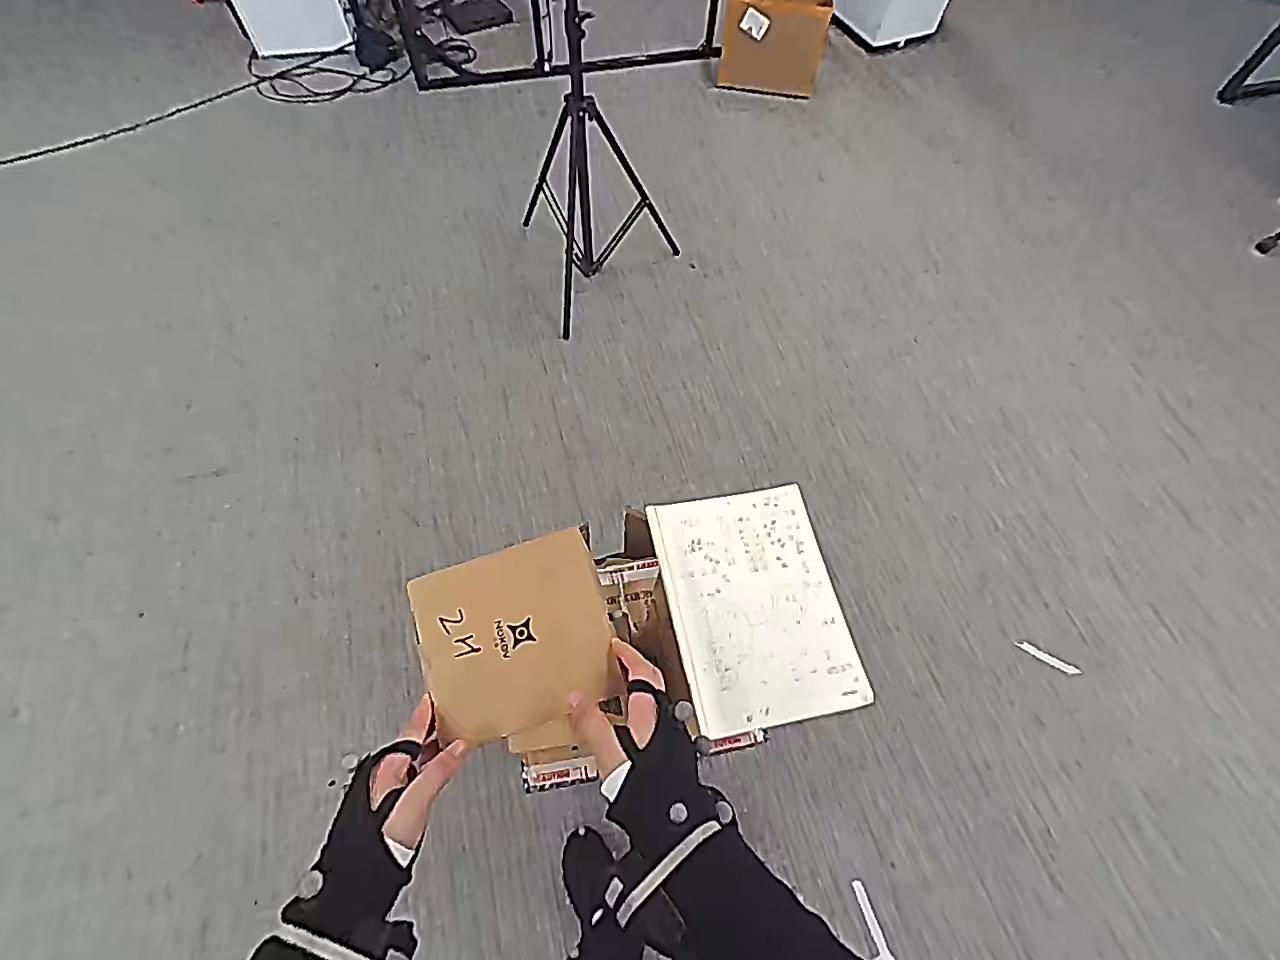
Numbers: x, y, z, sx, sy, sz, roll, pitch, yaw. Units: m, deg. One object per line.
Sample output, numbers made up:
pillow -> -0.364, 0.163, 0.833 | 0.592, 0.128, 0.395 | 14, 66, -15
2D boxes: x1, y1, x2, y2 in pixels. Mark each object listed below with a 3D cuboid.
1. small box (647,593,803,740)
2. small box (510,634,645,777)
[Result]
small box -> 0.119, 0.292, 0.840 | 0.179, 0.176, 0.168 | -13, 65, -10
small box -> -0.091, 0.335, 0.808 | 0.179, 0.176, 0.168 | -7, 65, -4
